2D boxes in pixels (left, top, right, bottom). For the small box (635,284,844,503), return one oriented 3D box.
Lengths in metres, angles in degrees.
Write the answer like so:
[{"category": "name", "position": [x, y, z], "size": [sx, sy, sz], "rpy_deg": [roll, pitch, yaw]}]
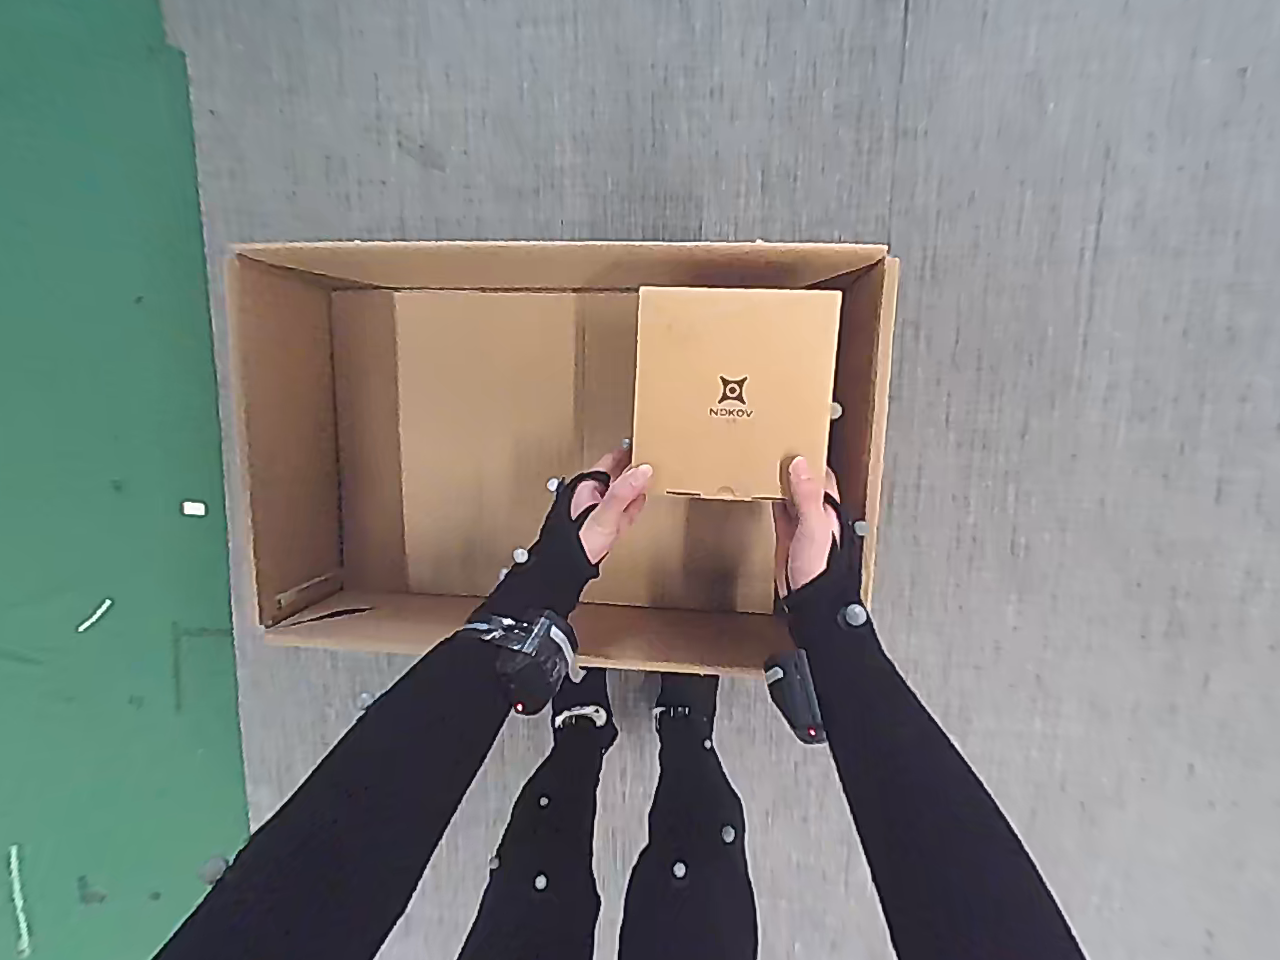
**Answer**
[{"category": "small box", "position": [0.086, -0.081, 0.531], "size": [0.168, 0.176, 0.179], "rpy_deg": [3, 98, 5]}]
